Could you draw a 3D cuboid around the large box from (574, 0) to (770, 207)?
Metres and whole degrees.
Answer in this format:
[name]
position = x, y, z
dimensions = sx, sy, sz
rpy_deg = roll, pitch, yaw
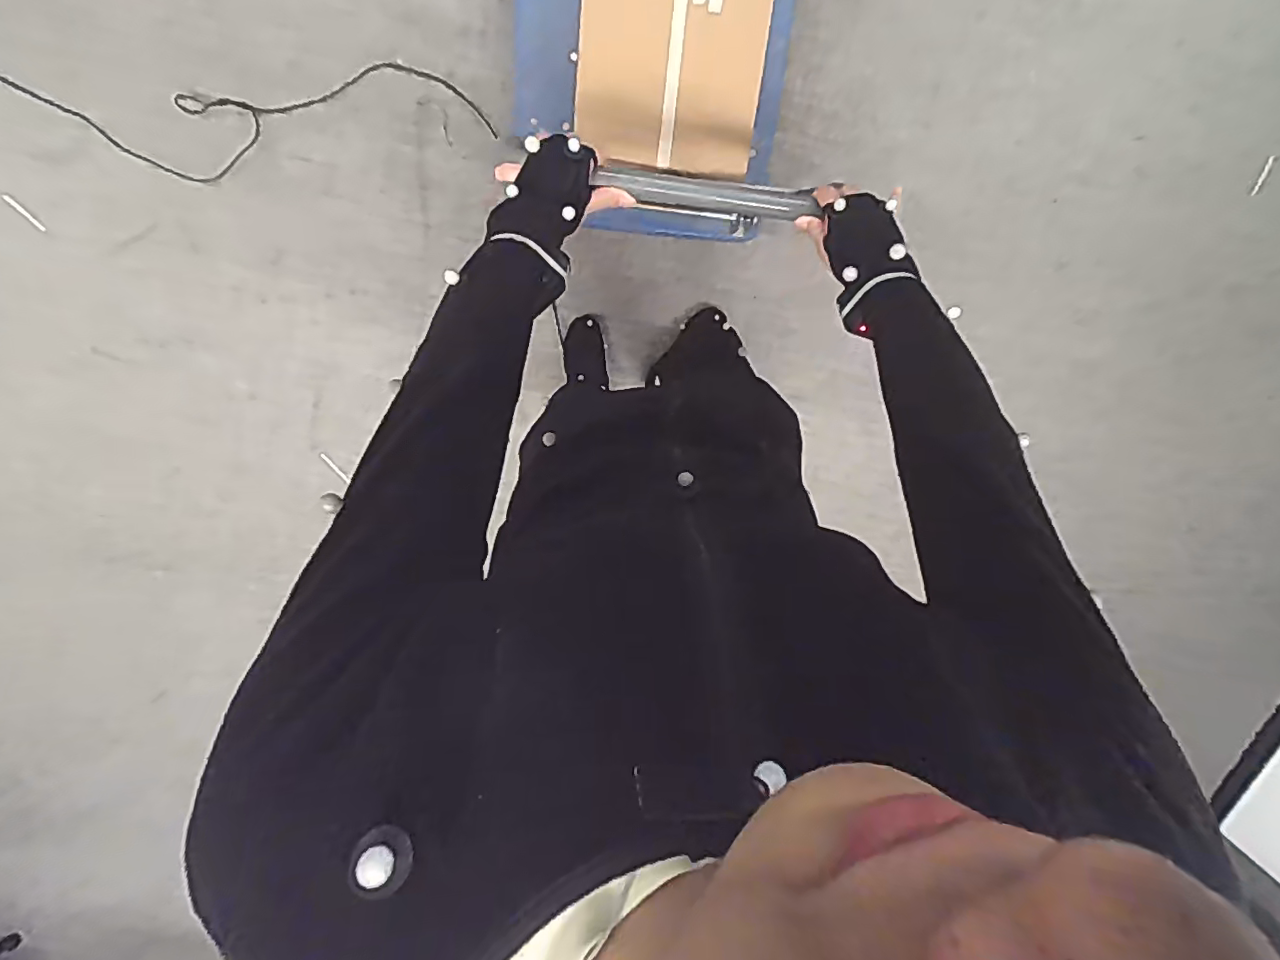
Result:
[large box]
position = 0.042, -0.774, 1.034
dimensions = 0.320, 0.320, 0.408
rpy_deg = 3, 109, -8
